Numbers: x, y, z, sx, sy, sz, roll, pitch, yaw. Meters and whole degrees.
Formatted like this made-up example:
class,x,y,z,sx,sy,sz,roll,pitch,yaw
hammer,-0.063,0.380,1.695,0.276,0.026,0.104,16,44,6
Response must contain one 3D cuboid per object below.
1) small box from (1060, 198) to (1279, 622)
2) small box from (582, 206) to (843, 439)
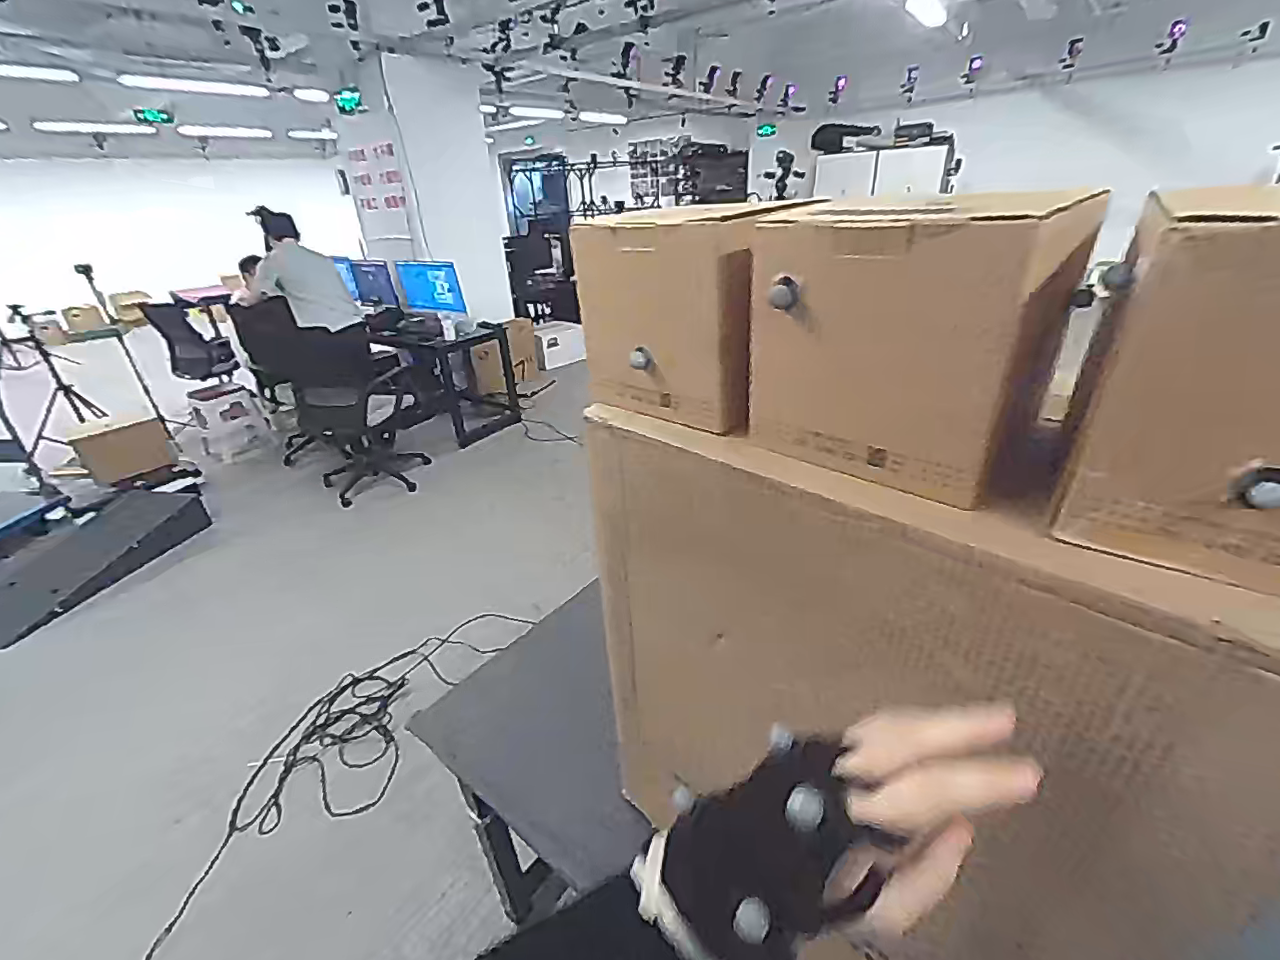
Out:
class,x,y,z,sx,sy,sz,roll,pitch,yaw
small box,0.345,-0.041,0.277,0.168,0.176,0.179,18,38,30
small box,0.068,-0.158,0.513,0.168,0.176,0.179,21,38,39
